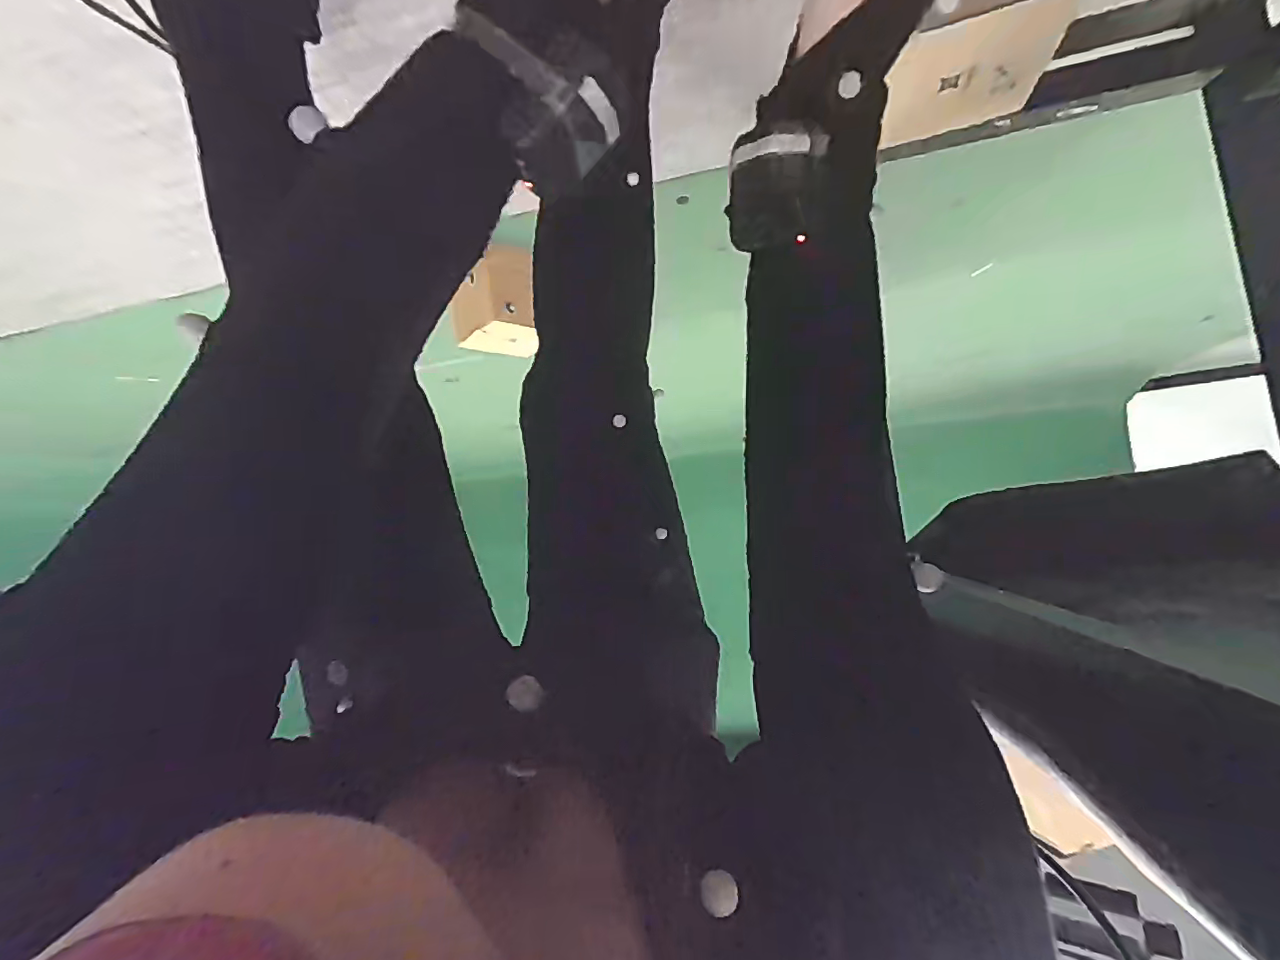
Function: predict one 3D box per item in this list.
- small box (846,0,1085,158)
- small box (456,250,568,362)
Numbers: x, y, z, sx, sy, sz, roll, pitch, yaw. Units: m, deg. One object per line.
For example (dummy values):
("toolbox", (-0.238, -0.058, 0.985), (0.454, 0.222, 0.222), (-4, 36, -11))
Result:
("small box", (0.321, -0.490, 0.569), (0.179, 0.176, 0.168), (-8, 175, 16))
("small box", (-0.277, -0.367, 1.161), (0.179, 0.176, 0.168), (-1, 172, -43))
